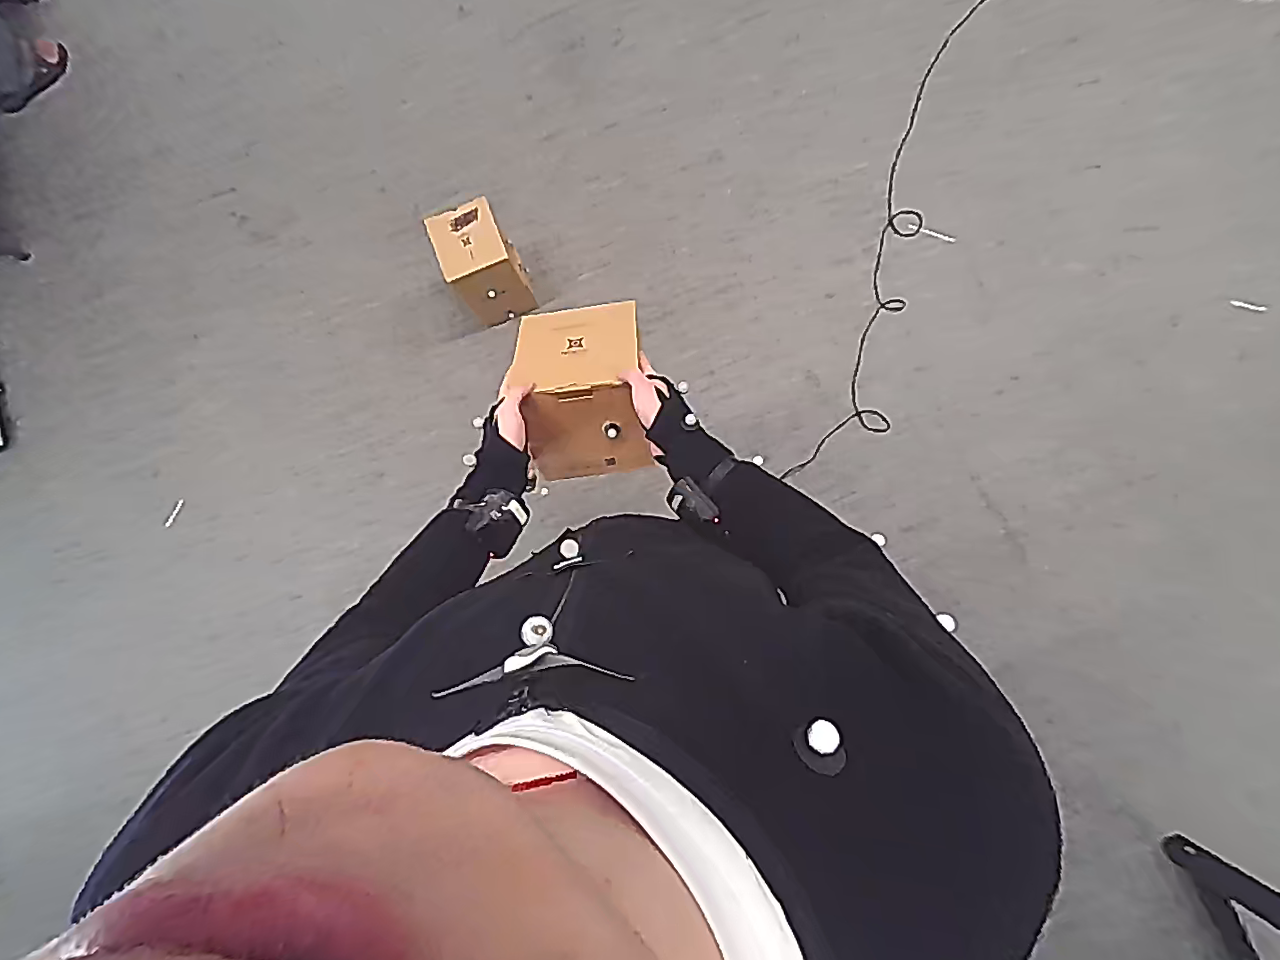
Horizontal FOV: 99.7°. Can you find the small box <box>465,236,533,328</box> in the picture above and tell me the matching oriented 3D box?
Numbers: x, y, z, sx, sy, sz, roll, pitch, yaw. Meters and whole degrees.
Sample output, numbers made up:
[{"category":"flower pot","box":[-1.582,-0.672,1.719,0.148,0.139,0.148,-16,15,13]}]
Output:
[{"category":"small box","box":[-0.427,-0.572,1.578,0.179,0.176,0.168,-24,86,1]}]

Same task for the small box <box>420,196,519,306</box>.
[{"category":"small box","box":[-0.433,-0.581,1.392,0.168,0.176,0.179,-20,84,3]}]

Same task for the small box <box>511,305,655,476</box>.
[{"category":"small box","box":[-0.073,-0.120,0.774,0.168,0.176,0.179,-8,50,4]}]
